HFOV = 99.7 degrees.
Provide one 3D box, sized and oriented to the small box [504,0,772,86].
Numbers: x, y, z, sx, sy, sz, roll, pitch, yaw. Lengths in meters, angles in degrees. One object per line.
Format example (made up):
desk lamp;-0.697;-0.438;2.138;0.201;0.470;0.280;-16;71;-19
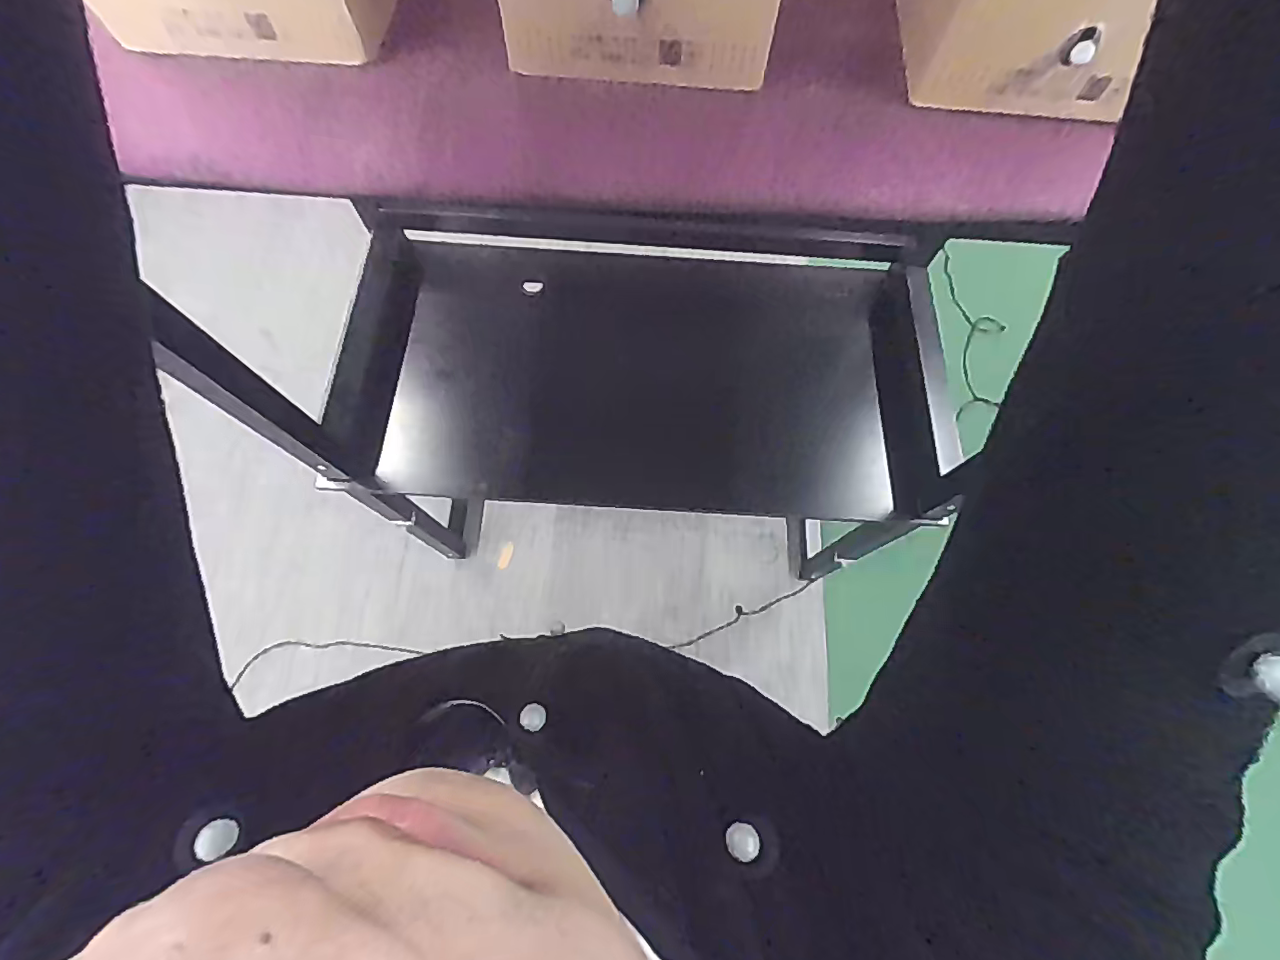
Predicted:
small box;0.002;-0.370;0.304;0.168;0.176;0.179;4;70;0

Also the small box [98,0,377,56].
small box;-0.251;-0.384;0.300;0.168;0.176;0.179;3;68;0
